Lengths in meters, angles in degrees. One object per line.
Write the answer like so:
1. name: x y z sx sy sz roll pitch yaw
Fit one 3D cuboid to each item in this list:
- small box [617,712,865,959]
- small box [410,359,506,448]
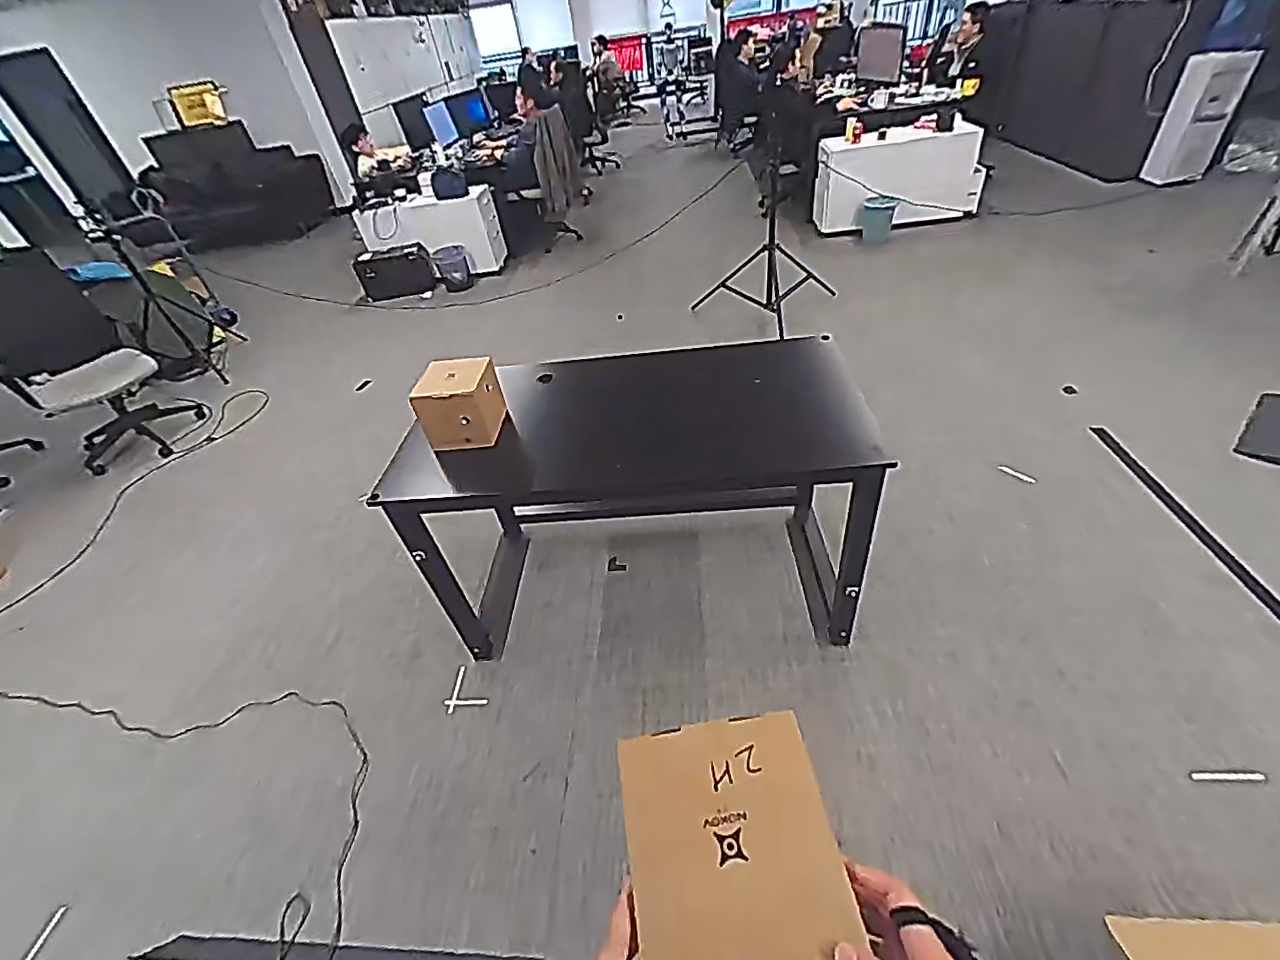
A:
1. small box: 0.078 0.341 0.493 0.168 0.176 0.179 -9 46 -2
2. small box: -0.462 -0.193 1.406 0.168 0.176 0.179 -4 40 5
